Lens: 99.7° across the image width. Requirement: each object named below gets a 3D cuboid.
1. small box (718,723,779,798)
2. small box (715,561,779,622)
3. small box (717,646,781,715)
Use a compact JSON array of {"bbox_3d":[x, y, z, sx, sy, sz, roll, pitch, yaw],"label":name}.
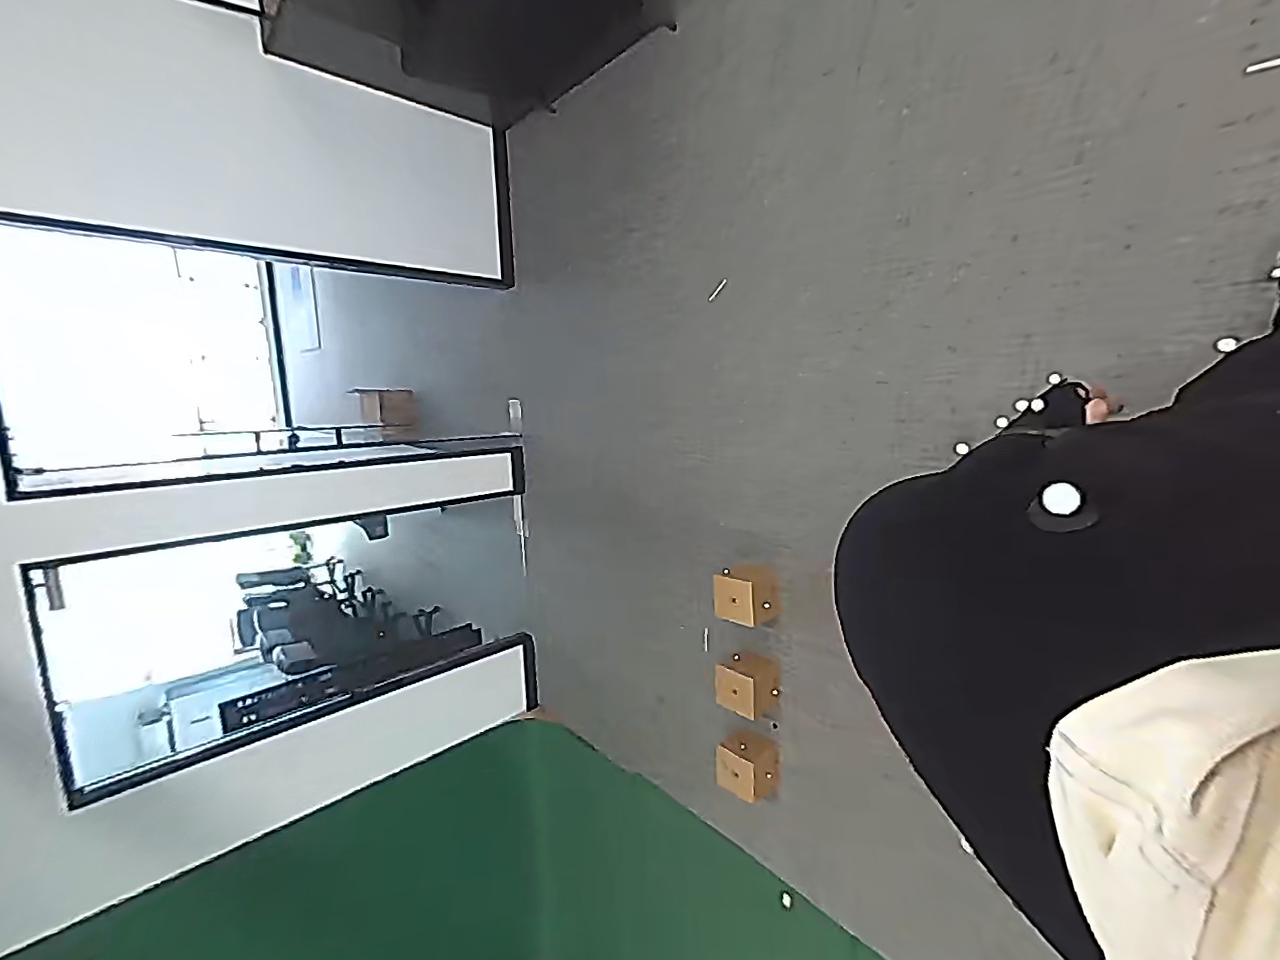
[{"bbox_3d":[0.423,1.075,2.093,0.179,0.176,0.168,8,102,48],"label":"small box"},{"bbox_3d":[0.399,0.404,1.997,0.179,0.176,0.168,3,100,49],"label":"small box"},{"bbox_3d":[0.412,0.750,2.048,0.179,0.176,0.168,7,103,47],"label":"small box"}]
